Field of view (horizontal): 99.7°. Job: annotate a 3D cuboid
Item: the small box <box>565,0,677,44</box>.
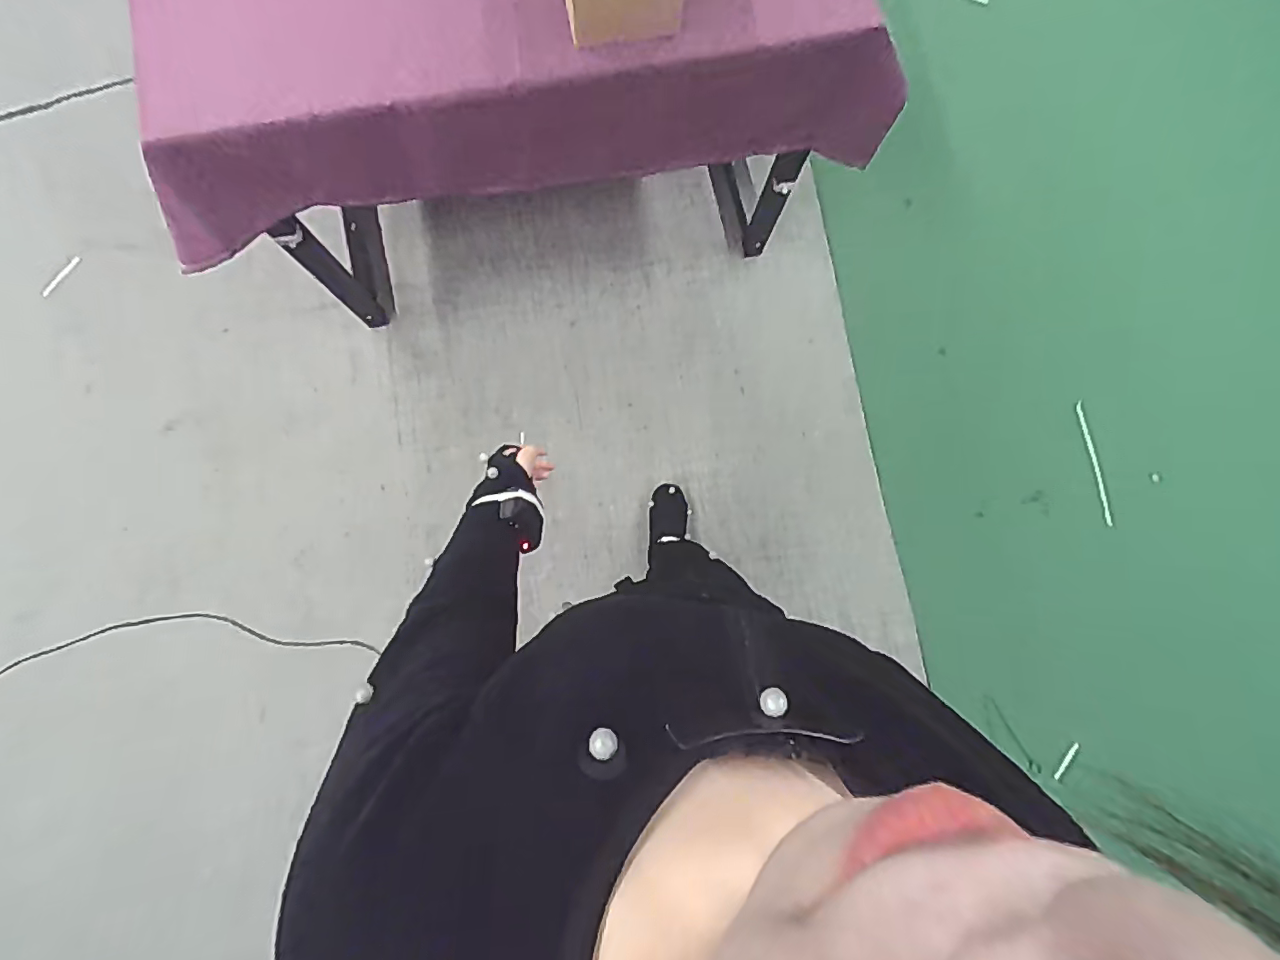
[{"bbox_3d":[-0.036,-0.808,0.819,0.179,0.176,0.168,-10,83,-4],"label":"small box"}]
